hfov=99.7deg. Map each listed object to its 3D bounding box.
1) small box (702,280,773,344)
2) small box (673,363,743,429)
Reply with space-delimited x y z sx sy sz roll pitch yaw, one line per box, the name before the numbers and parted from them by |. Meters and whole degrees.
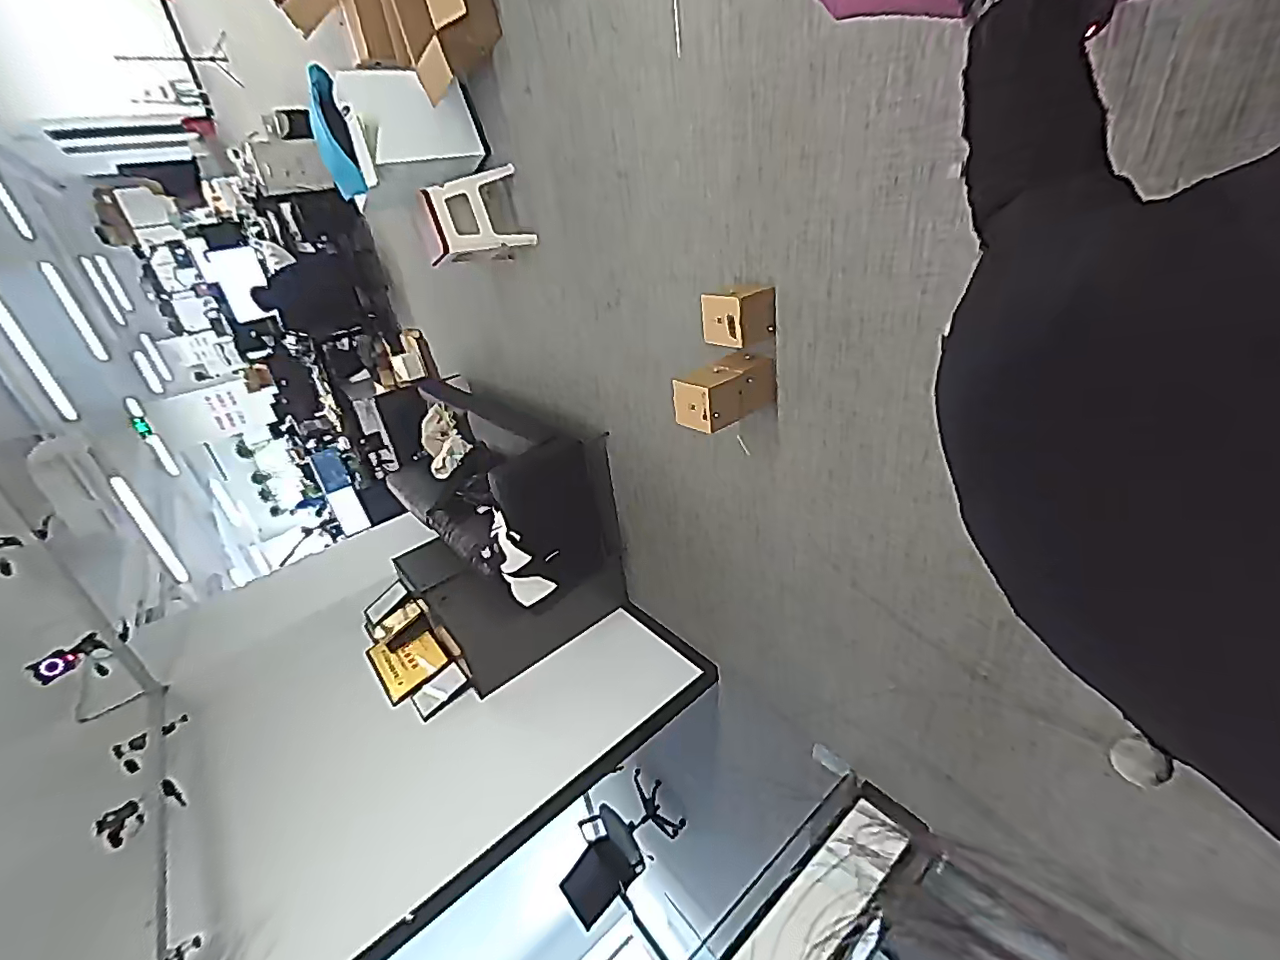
small box | 0.333 -0.574 1.830 0.179 0.176 0.168 26 133 46
small box | 0.237 -0.298 1.869 0.179 0.176 0.168 28 134 46
